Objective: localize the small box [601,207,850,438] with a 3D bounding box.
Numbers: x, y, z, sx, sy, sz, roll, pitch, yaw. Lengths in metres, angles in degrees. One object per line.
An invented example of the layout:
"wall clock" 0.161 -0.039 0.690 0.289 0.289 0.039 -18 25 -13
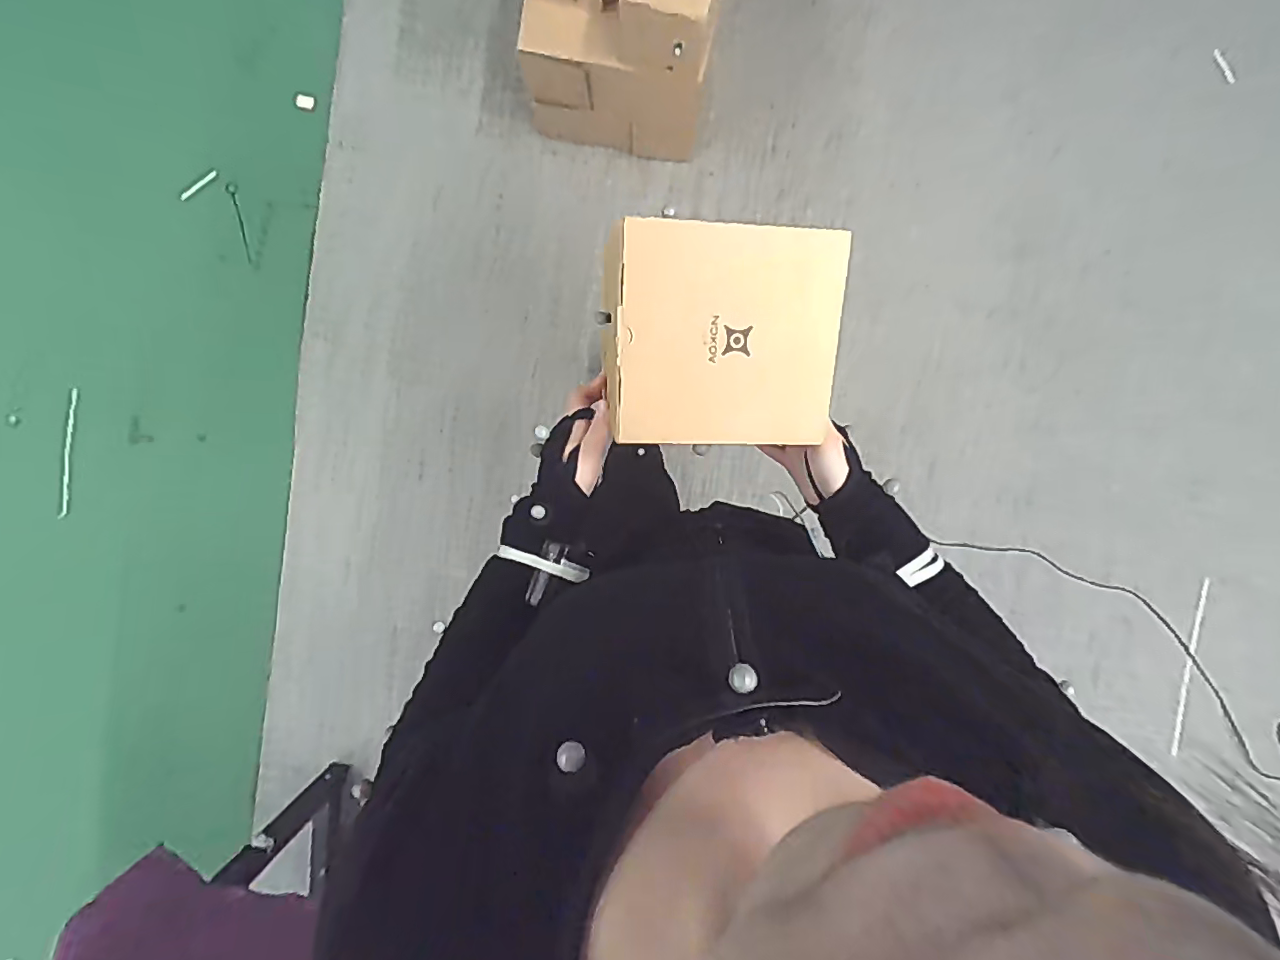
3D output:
"small box" 0.058 -0.137 0.489 0.179 0.176 0.168 0 106 -7

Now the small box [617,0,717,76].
"small box" 0.060 -0.928 1.035 0.168 0.176 0.179 15 92 0

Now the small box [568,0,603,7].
"small box" -0.138 -1.078 1.037 0.168 0.176 0.179 15 91 3
